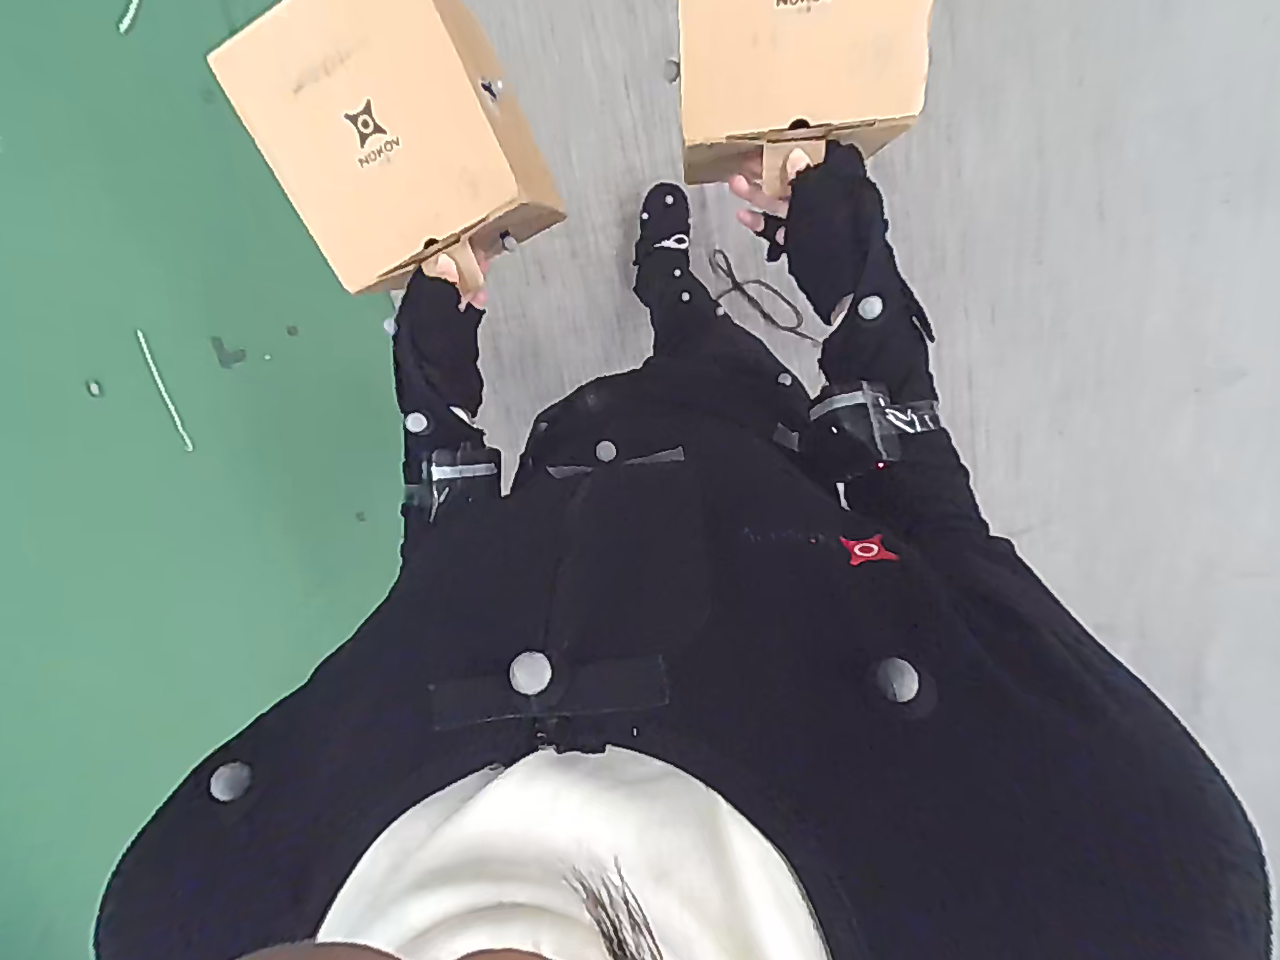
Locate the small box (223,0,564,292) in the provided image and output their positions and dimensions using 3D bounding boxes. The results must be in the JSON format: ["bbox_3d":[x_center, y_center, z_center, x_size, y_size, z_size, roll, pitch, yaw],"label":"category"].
[{"bbox_3d":[-0.187,-0.286,0.472,0.168,0.176,0.179,-23,107,14],"label":"small box"}]
